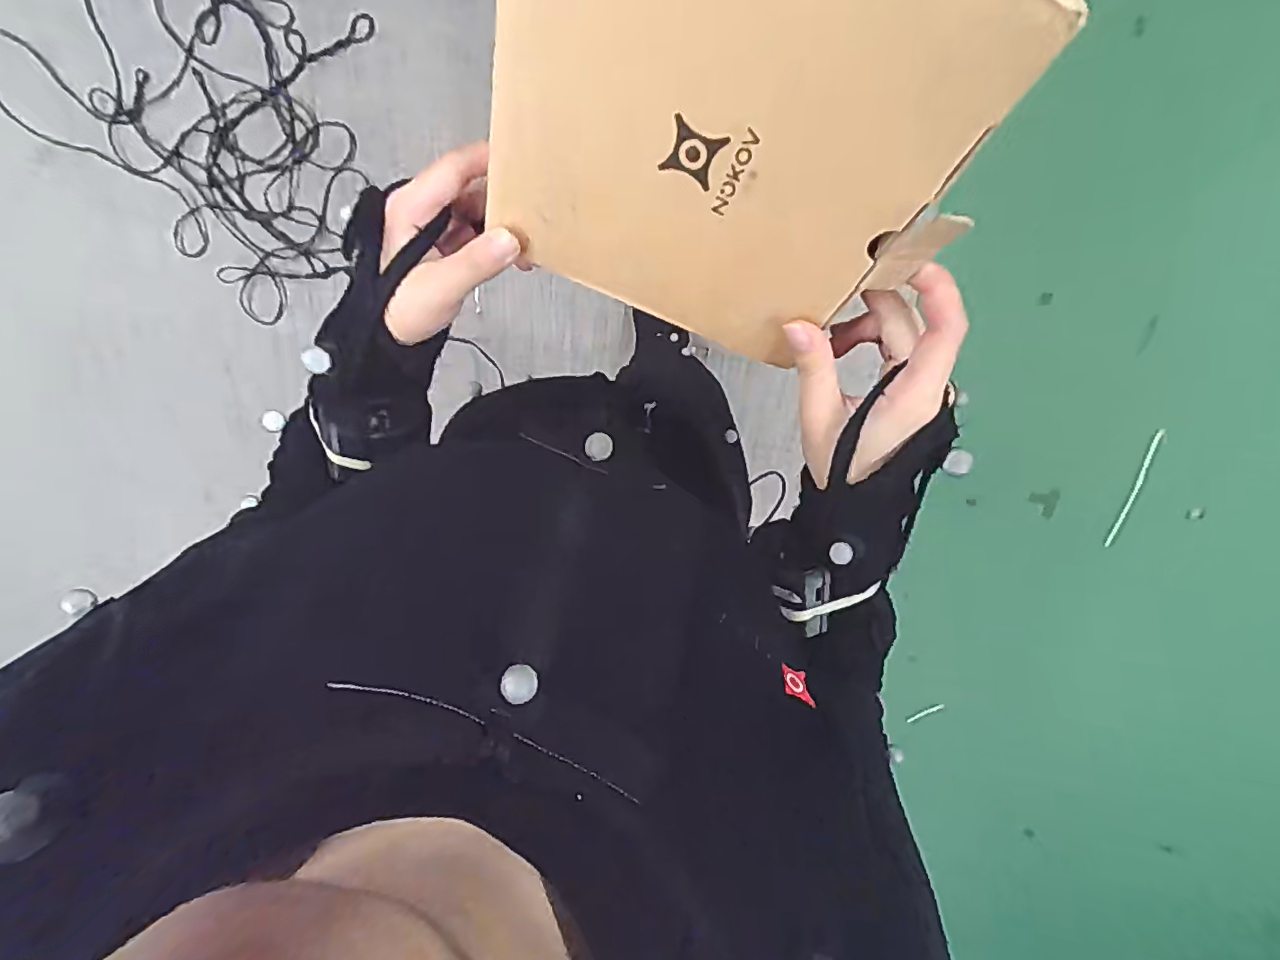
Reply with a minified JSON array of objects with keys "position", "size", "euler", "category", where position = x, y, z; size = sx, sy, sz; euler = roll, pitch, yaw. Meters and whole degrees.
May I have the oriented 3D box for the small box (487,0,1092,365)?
[{"position":[0.047,-0.194,0.255],"size":[0.179,0.176,0.168],"euler":[21,147,-7],"category":"small box"}]
